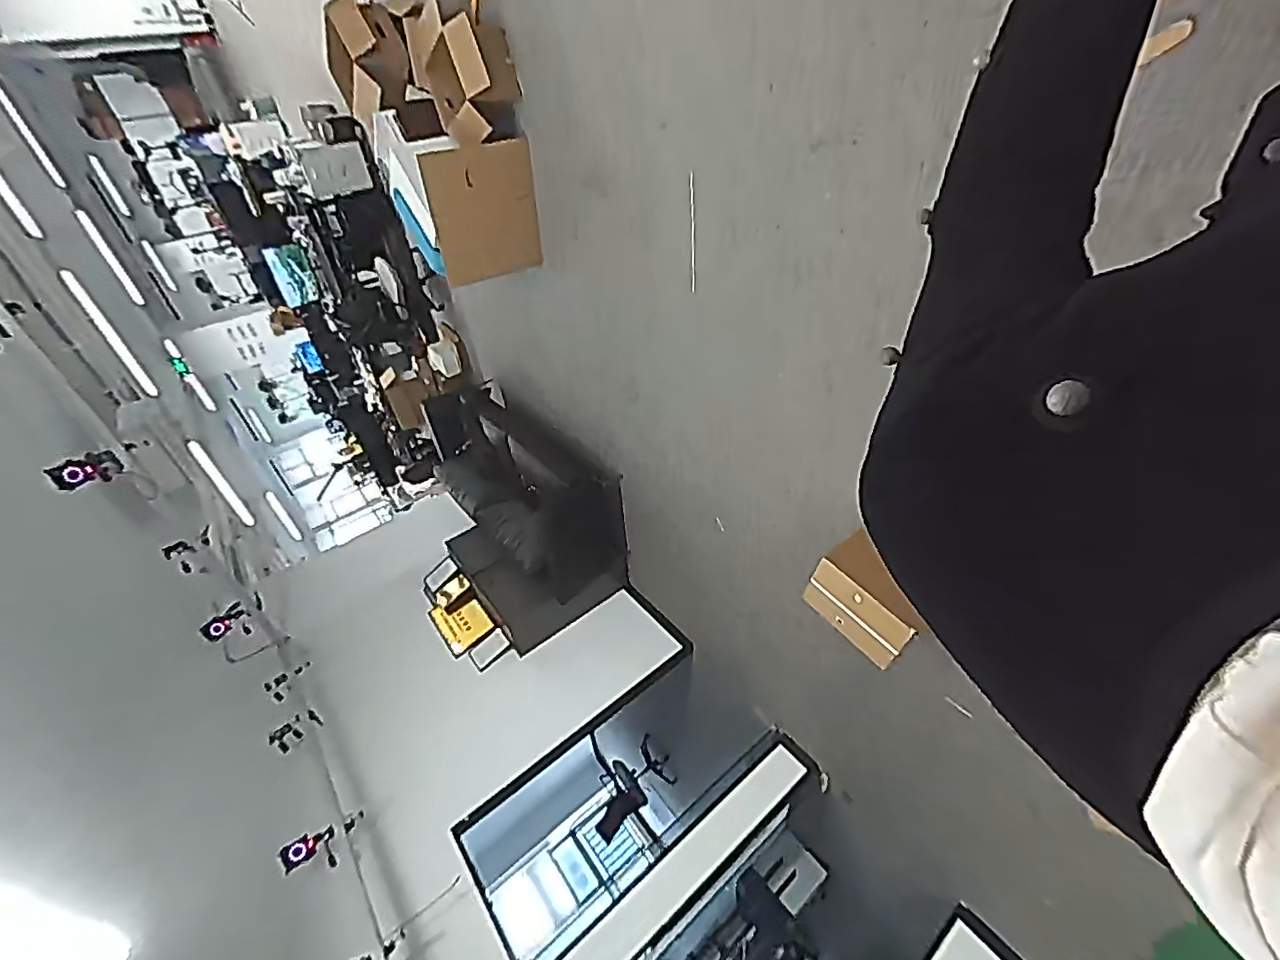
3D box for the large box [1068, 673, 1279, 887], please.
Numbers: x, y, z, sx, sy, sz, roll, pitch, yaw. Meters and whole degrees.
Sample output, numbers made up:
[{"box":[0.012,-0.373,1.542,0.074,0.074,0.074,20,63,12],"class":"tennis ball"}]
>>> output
[{"box":[1.525,0.798,1.512,0.408,0.320,0.320,-4,114,60],"class":"large box"}]
